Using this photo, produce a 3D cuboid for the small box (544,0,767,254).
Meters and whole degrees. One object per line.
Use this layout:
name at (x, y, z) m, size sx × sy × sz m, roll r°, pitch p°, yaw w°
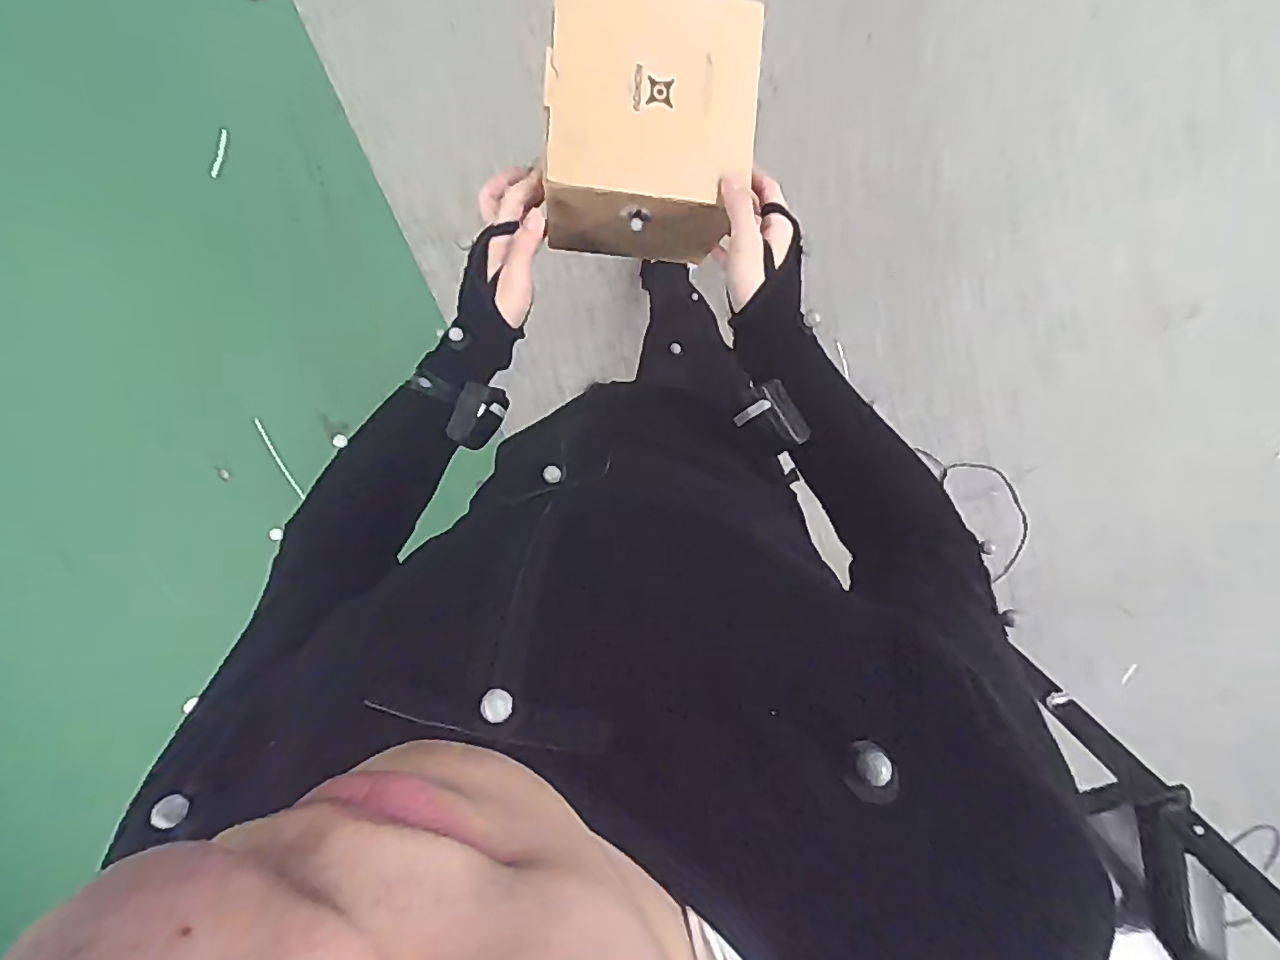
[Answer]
small box at (0.004, -0.334, 0.522) m, size 0.179 × 0.176 × 0.168 m, roll 4°, pitch 94°, yaw -9°
